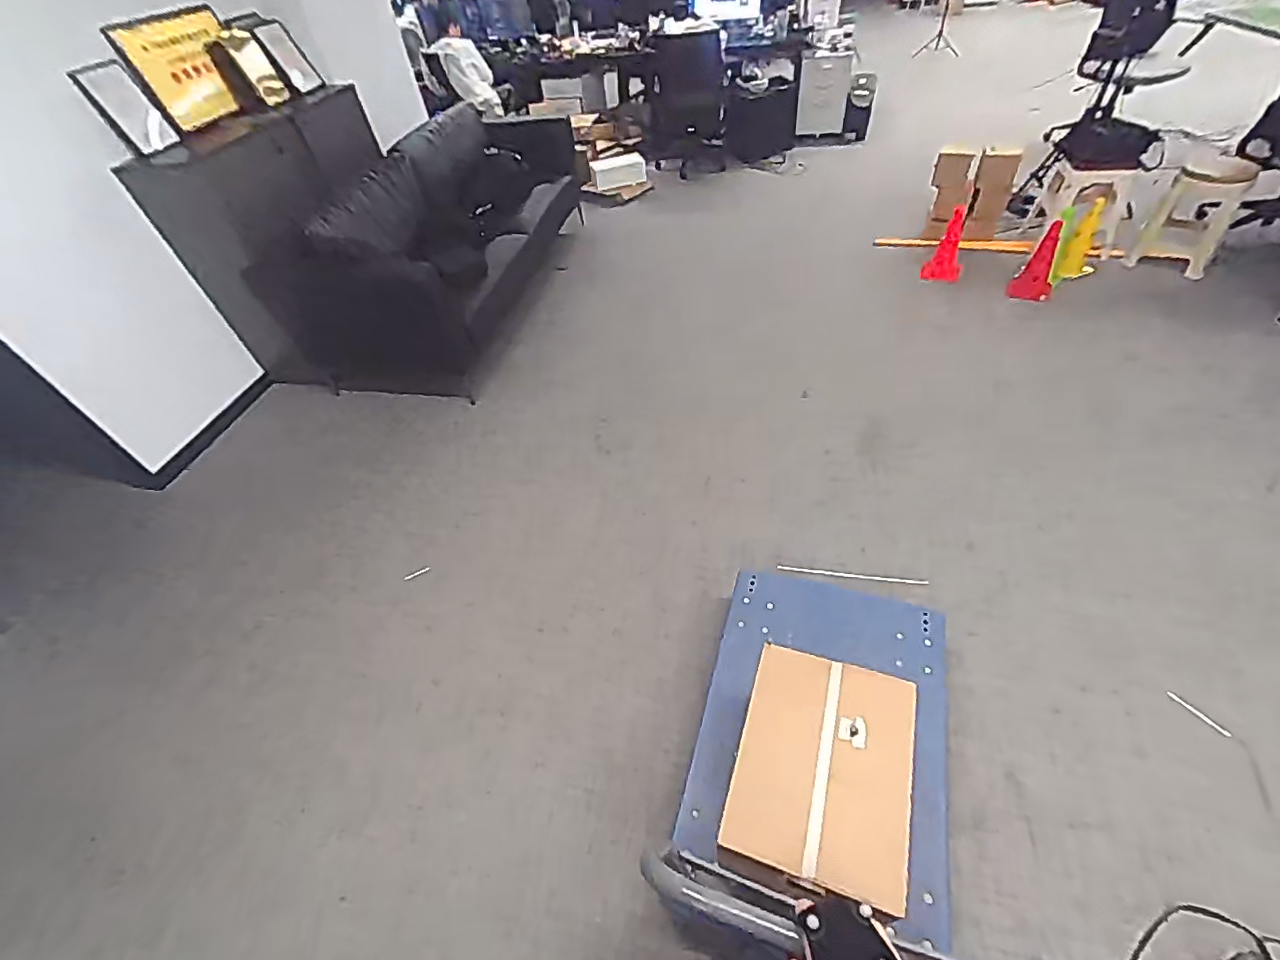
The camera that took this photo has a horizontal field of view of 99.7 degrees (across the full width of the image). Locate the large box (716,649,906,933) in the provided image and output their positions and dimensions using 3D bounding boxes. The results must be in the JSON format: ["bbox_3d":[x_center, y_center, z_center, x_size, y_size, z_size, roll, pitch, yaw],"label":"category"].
[{"bbox_3d":[0.360,0.647,1.148,0.320,0.320,0.408,11,49,19],"label":"large box"}]
